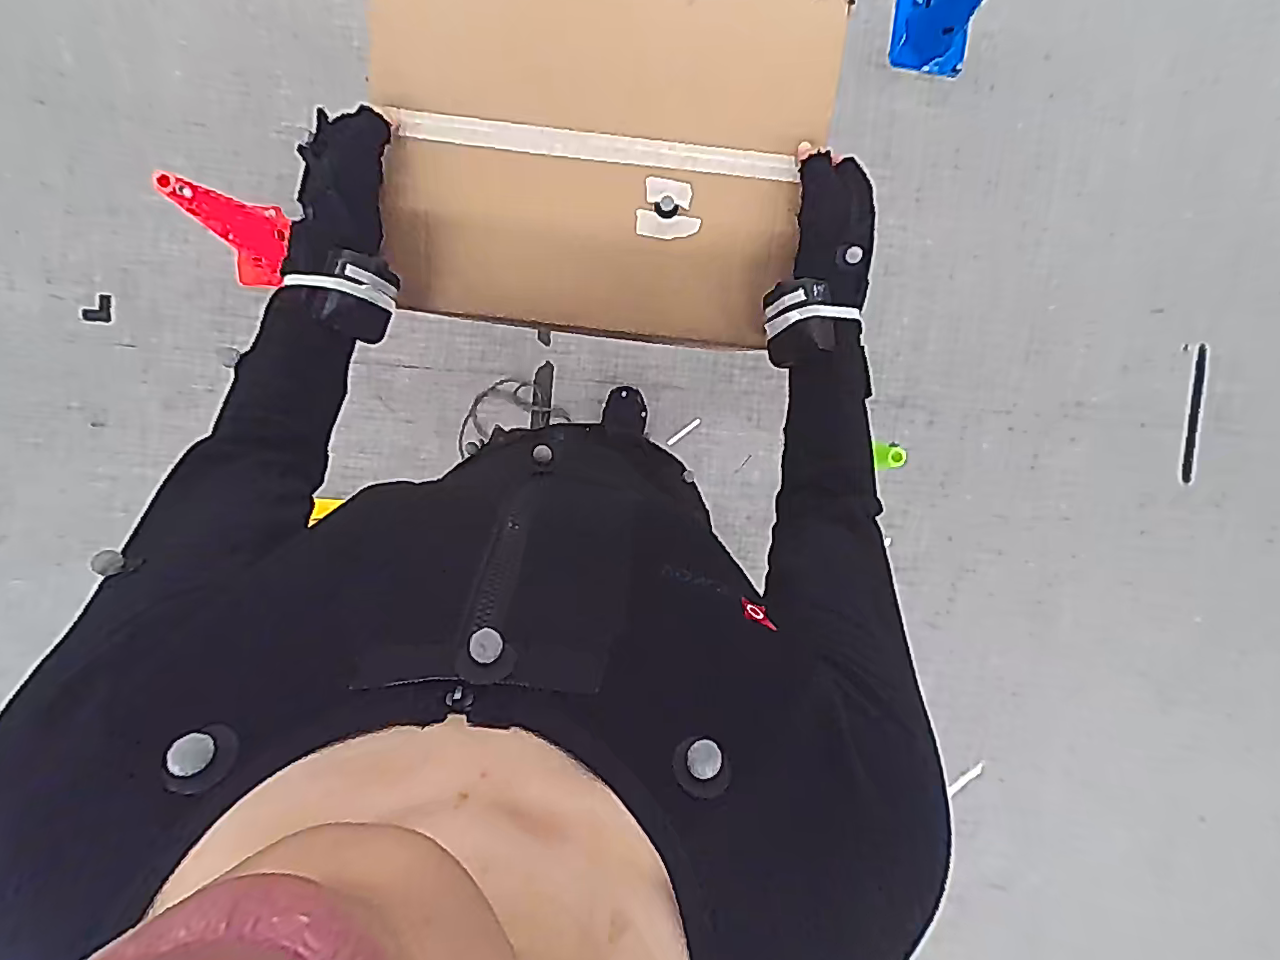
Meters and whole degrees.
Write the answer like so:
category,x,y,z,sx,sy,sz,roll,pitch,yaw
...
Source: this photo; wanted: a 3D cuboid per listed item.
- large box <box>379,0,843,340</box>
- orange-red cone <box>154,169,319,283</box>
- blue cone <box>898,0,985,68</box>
category,x,y,z,sx,sy,sz,roll,pitch,yaw
large box,-0.038,-0.343,0.632,0.408,0.320,0.320,6,104,-3
orange-red cone,-0.906,-0.585,1.196,0.198,0.360,0.199,2,96,-2
blue cone,0.784,-1.171,1.248,0.192,0.380,0.193,8,94,-5
